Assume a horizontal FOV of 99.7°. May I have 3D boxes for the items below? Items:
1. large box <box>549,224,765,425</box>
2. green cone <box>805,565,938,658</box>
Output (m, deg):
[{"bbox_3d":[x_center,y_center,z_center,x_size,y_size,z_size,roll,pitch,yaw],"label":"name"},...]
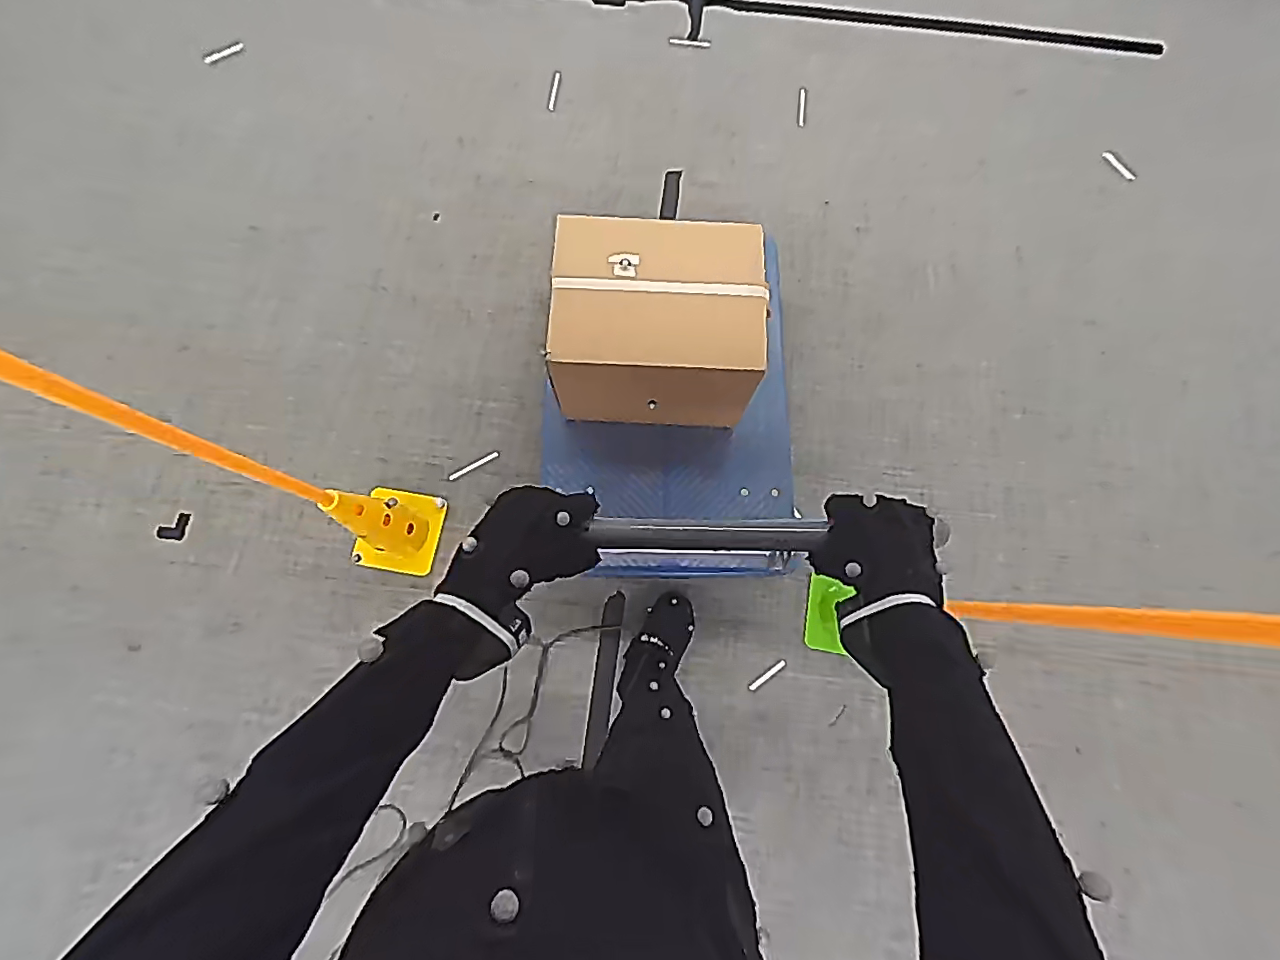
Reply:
[{"bbox_3d":[0.037,-0.313,1.168,0.408,0.320,0.320,3,76,0],"label":"large box"},{"bbox_3d":[0.519,0.279,1.169,0.202,0.368,0.200,11,75,0],"label":"green cone"}]
